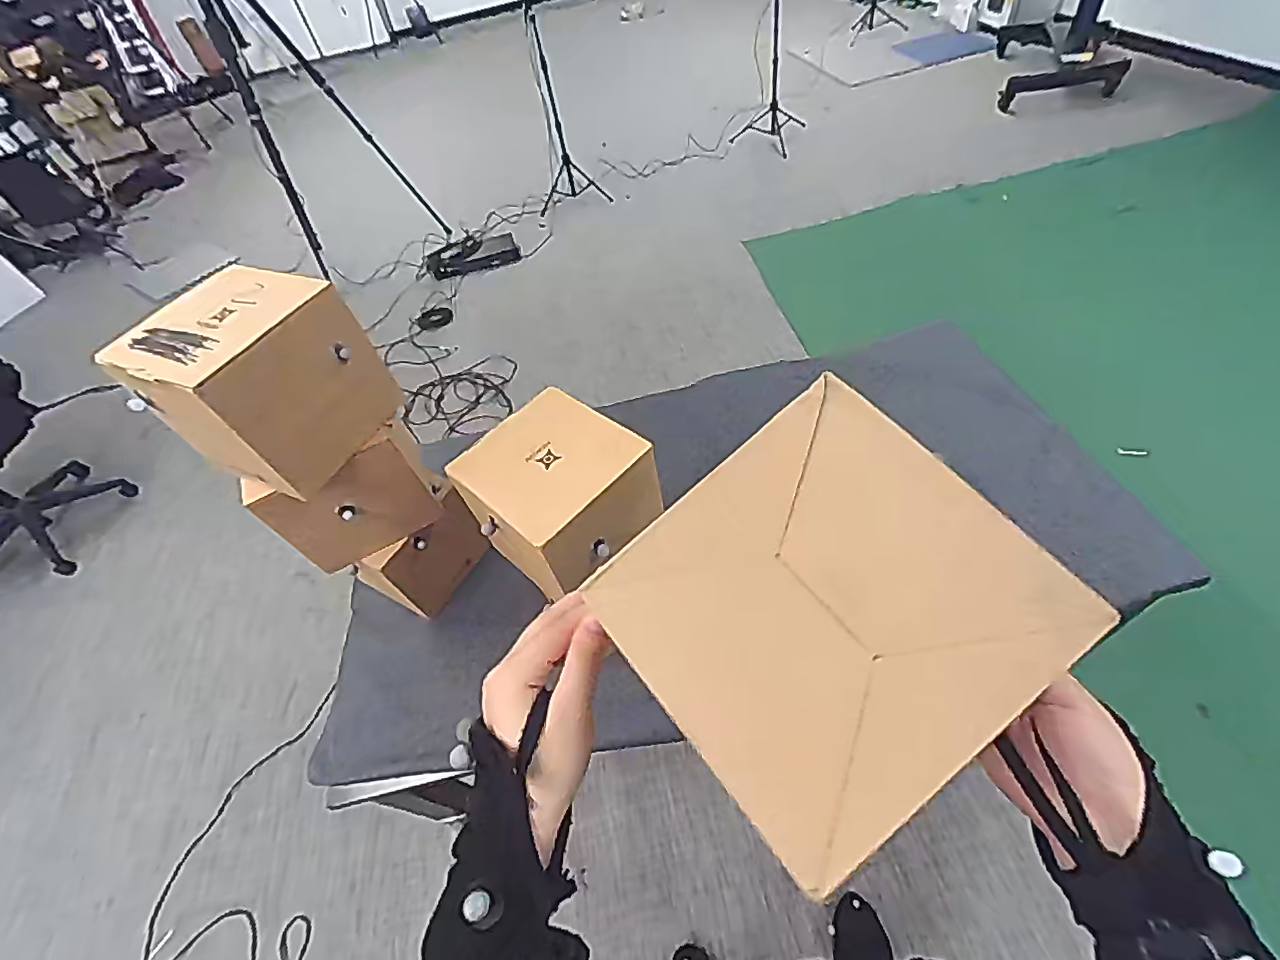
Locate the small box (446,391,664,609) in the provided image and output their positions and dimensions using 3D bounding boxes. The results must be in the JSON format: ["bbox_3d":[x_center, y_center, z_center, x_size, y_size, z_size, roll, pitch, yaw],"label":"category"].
[{"bbox_3d":[-0.089,0.030,0.651,0.179,0.176,0.168,32,64,32],"label":"small box"}]

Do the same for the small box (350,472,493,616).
[{"bbox_3d":[-0.373,0.093,0.870,0.179,0.176,0.168,19,58,24],"label":"small box"}]

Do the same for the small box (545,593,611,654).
[{"bbox_3d":[-0.059,0.125,0.779,0.168,0.176,0.179,-34,52,-16],"label":"small box"}]

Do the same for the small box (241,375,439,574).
[{"bbox_3d":[-0.398,-0.006,0.740,0.179,0.176,0.168,-29,53,-12],"label":"small box"}]

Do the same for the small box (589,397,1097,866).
[{"bbox_3d":[0.096,0.081,0.320,0.179,0.176,0.168,-41,72,0],"label":"small box"}]
